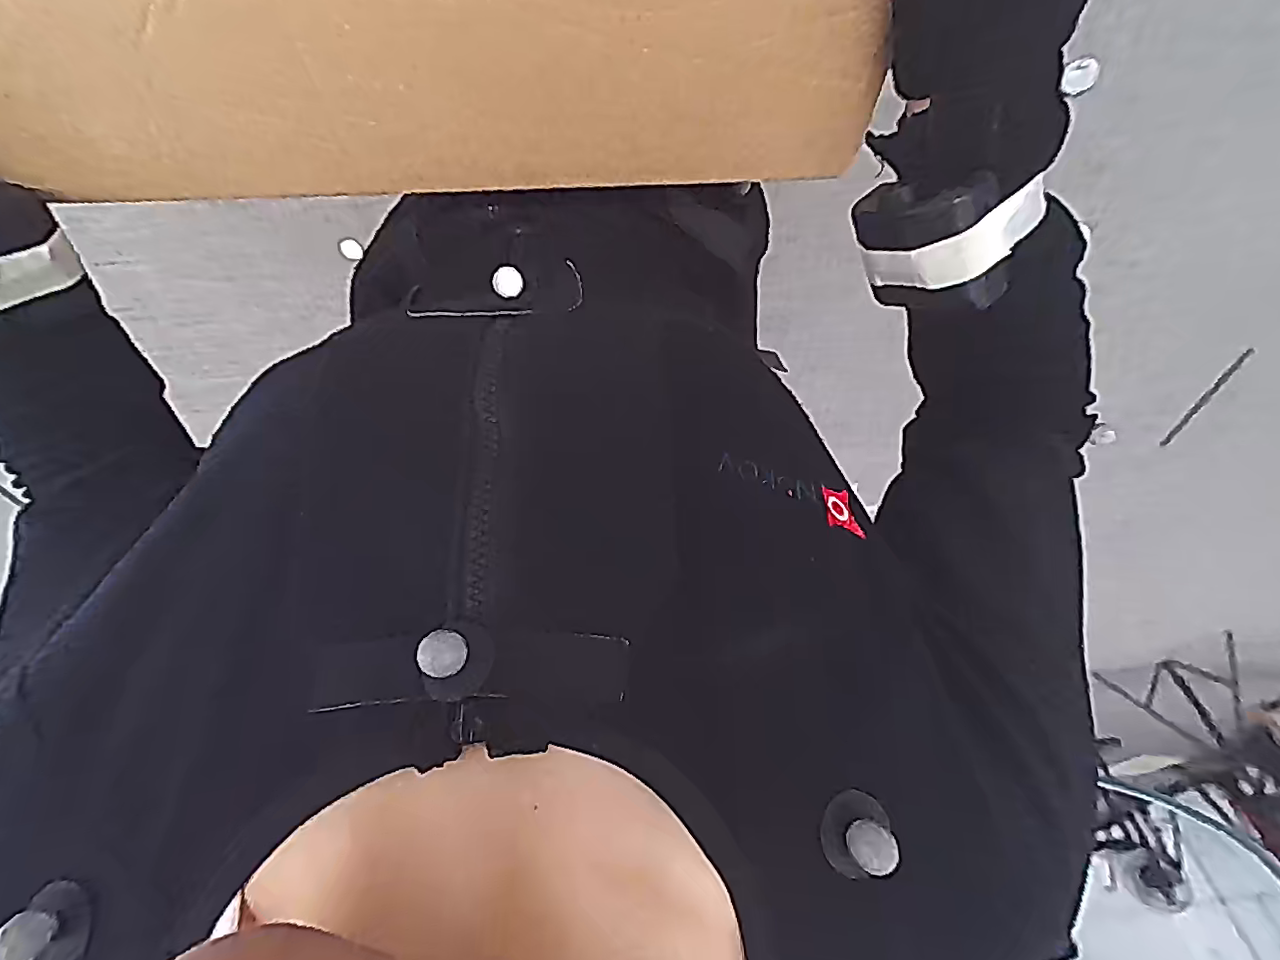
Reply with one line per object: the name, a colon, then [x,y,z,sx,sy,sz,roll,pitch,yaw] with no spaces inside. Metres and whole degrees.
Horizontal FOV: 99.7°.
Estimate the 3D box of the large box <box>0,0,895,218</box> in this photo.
large box: [-0.102,-0.346,0.211,0.408,0.320,0.320,-2,154,-2]
